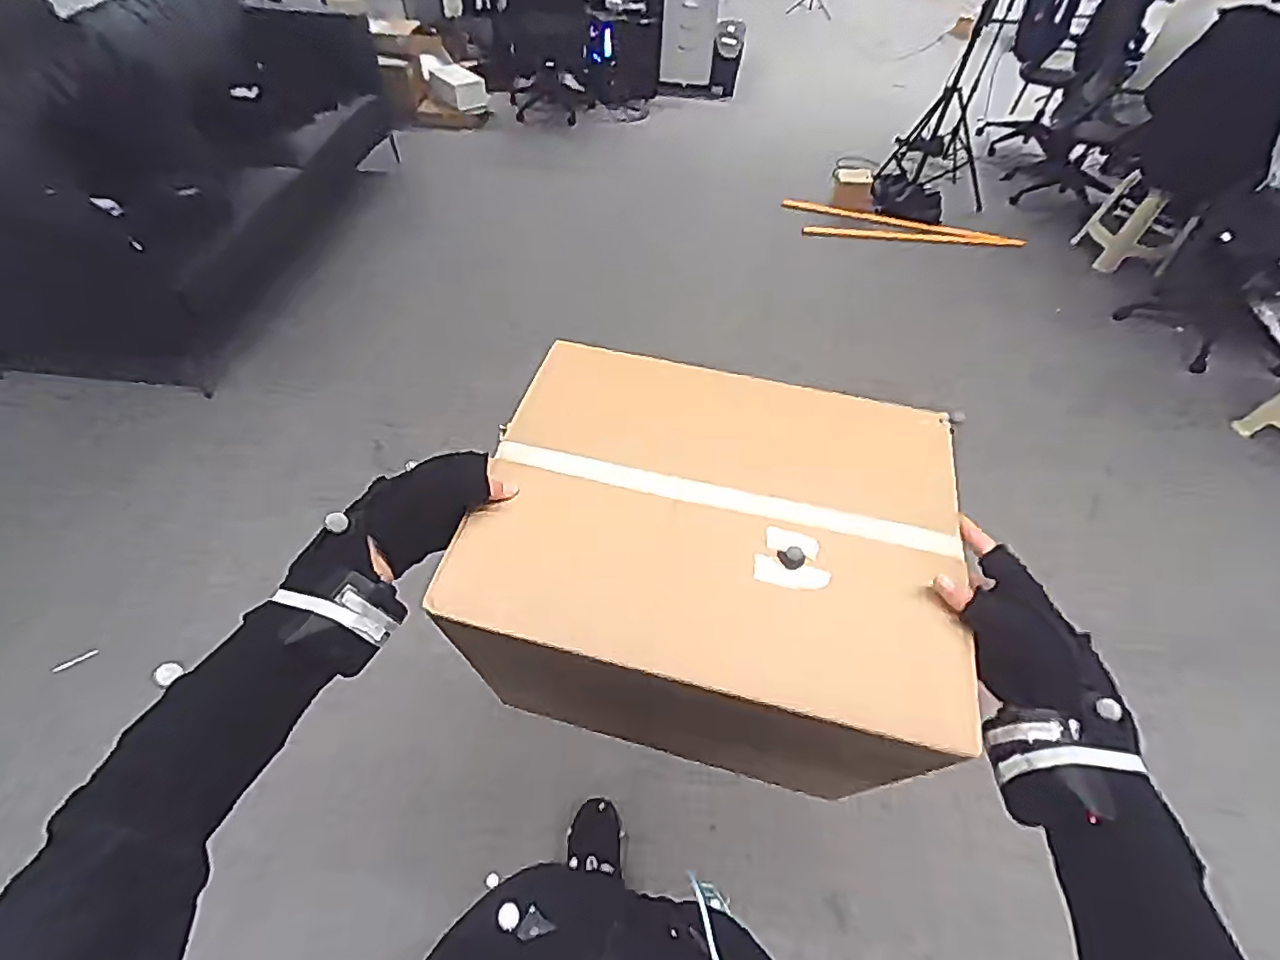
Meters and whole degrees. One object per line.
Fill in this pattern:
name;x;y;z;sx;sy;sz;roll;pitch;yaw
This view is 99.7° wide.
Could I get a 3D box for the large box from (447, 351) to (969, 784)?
large box;0.067;0.104;0.604;0.408;0.320;0.320;13;56;7
